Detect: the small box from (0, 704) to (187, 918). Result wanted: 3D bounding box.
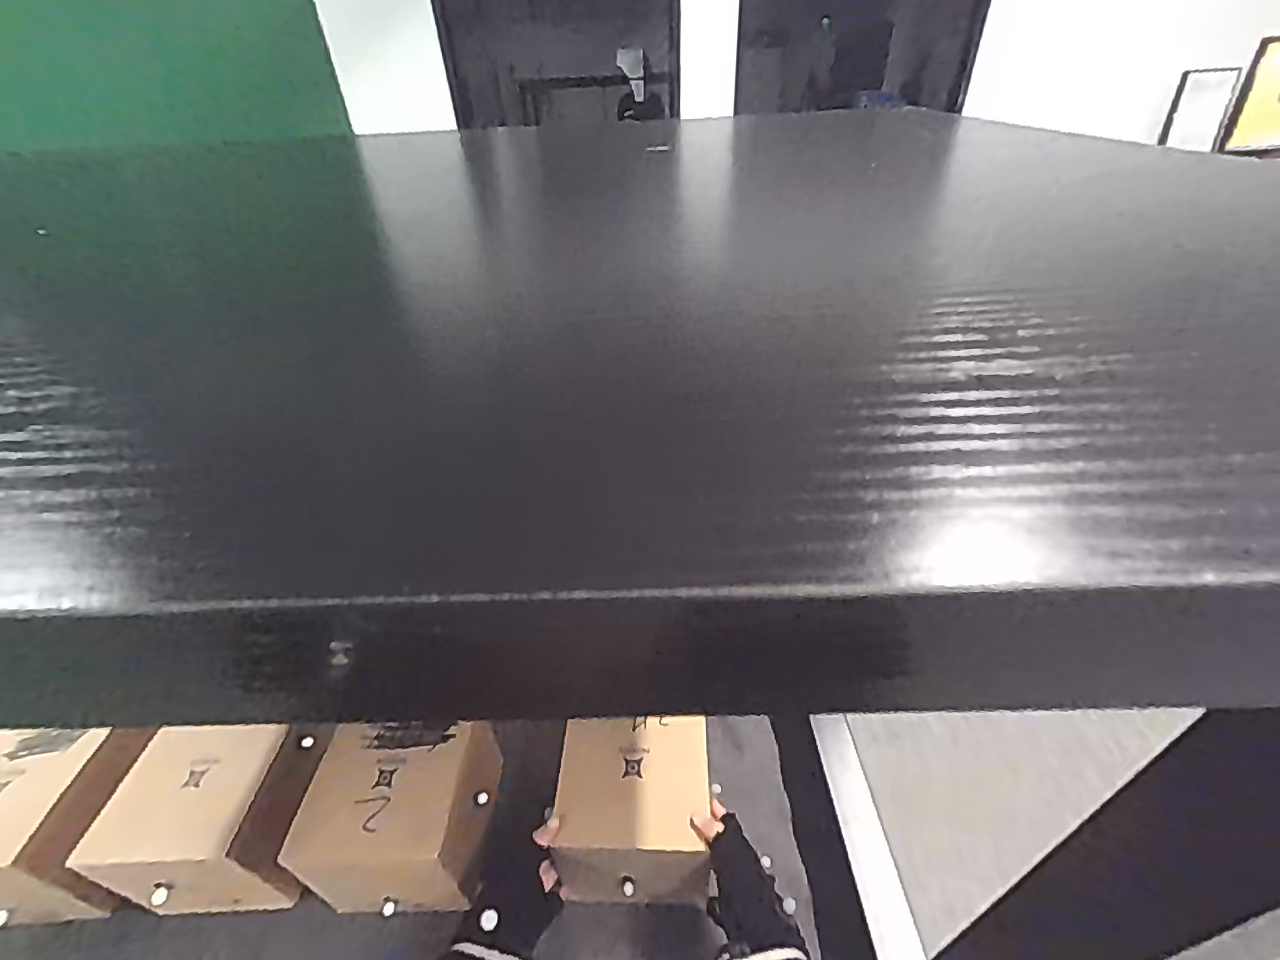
[{"bbox_3d":[-0.716,0.404,0.665,0.168,0.176,0.179,-3,37,0],"label":"small box"}]

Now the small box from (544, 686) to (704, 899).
[{"bbox_3d":[-0.007,0.374,0.651,0.168,0.176,0.179,0,37,4],"label":"small box"}]
